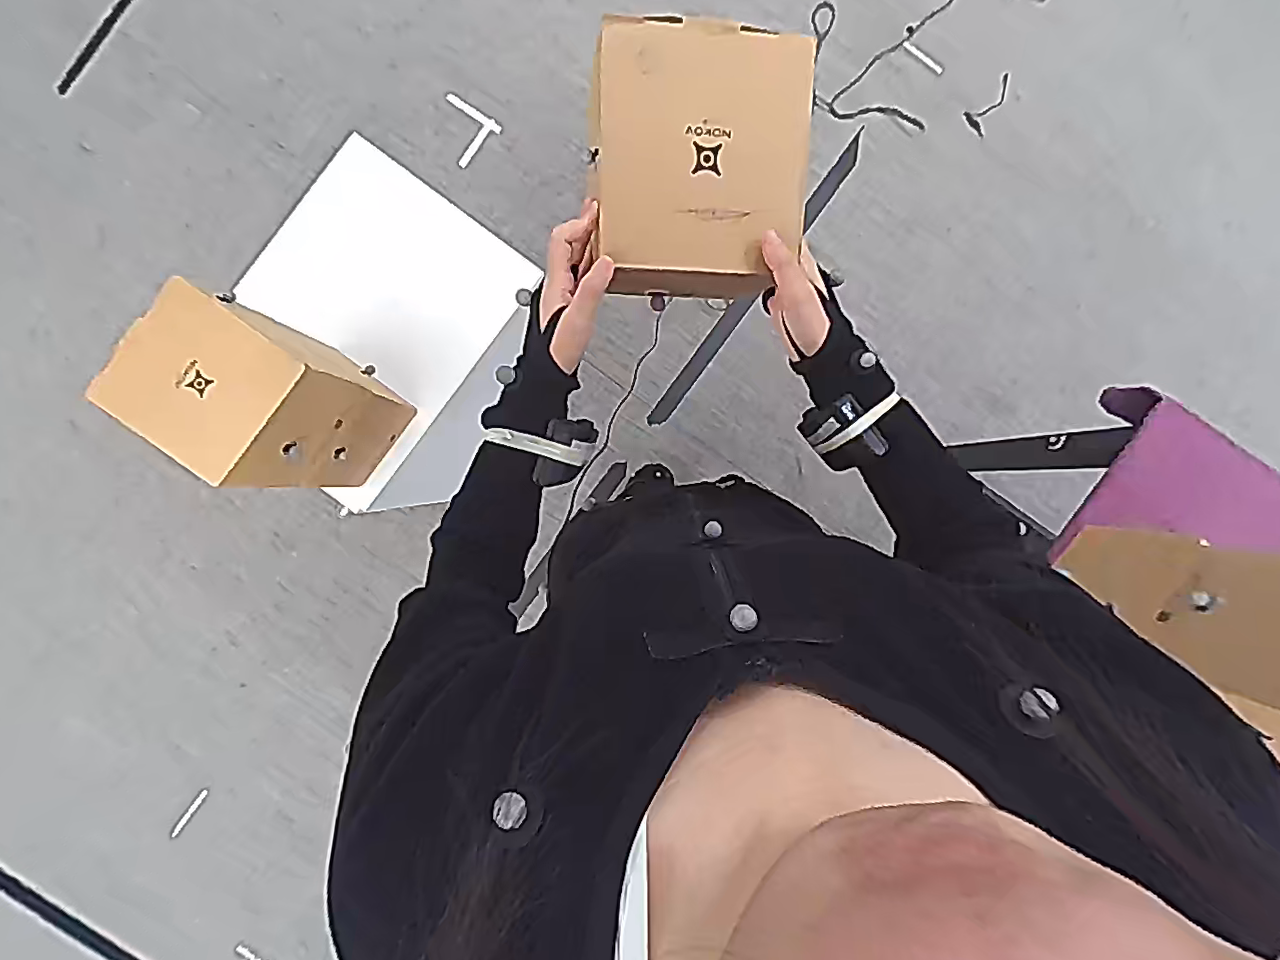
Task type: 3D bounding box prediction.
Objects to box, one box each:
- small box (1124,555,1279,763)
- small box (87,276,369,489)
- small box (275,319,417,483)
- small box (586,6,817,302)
[{"bbox_3d":[0.678,0.194,0.555,0.179,0.176,0.168,39,89,0],"label":"small box"},{"bbox_3d":[-0.474,-0.106,0.657,0.179,0.176,0.168,35,89,-1],"label":"small box"},{"bbox_3d":[-0.481,-0.106,0.820,0.179,0.176,0.168,37,88,0],"label":"small box"},{"bbox_3d":[0.039,-0.265,0.486,0.168,0.176,0.179,-1,102,-9],"label":"small box"}]
